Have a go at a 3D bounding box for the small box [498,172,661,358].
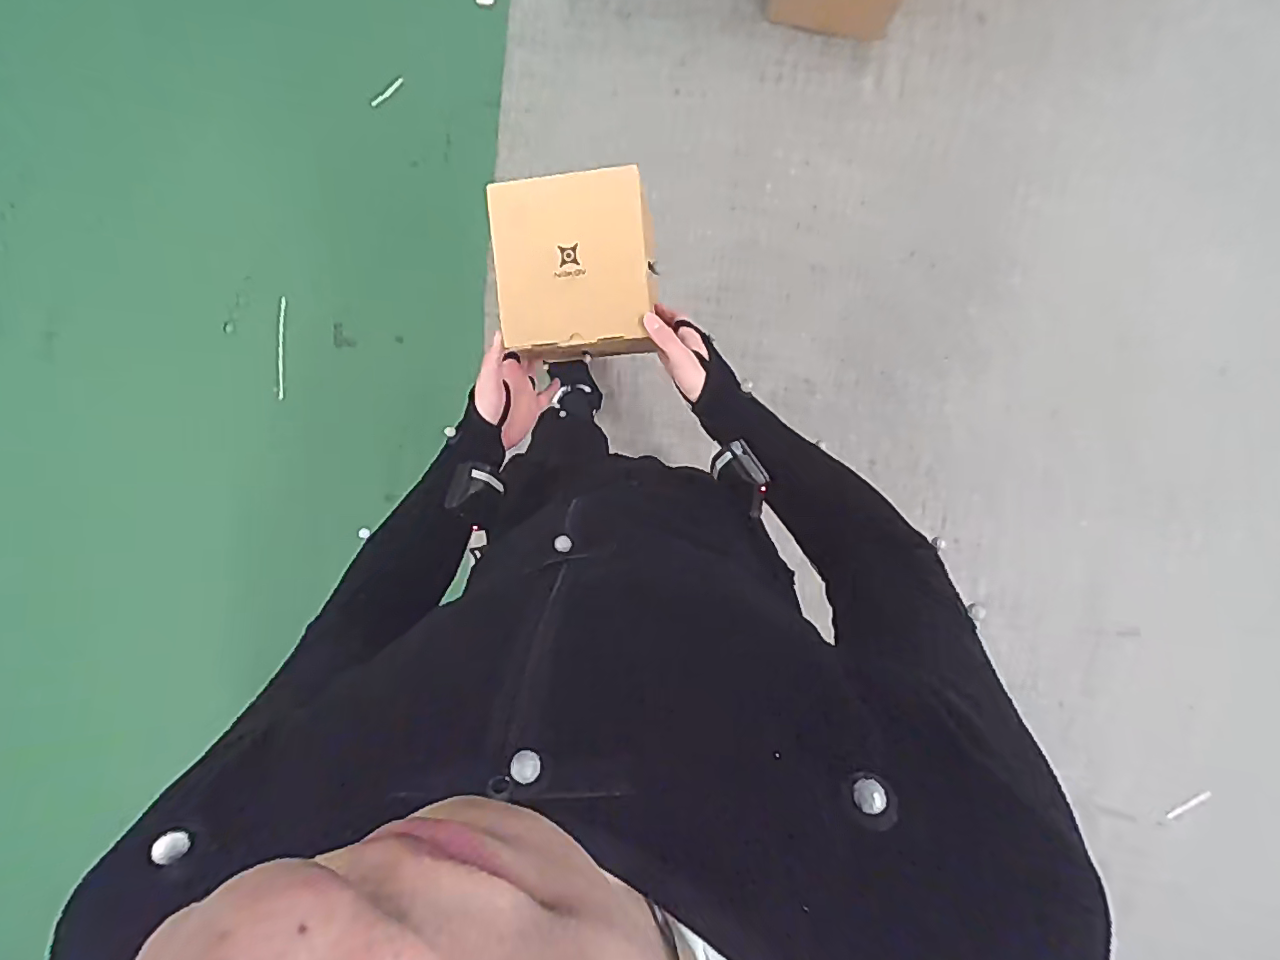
[{"bbox_3d":[-0.061,-0.246,0.660,0.168,0.176,0.179,-3,100,5],"label":"small box"}]
